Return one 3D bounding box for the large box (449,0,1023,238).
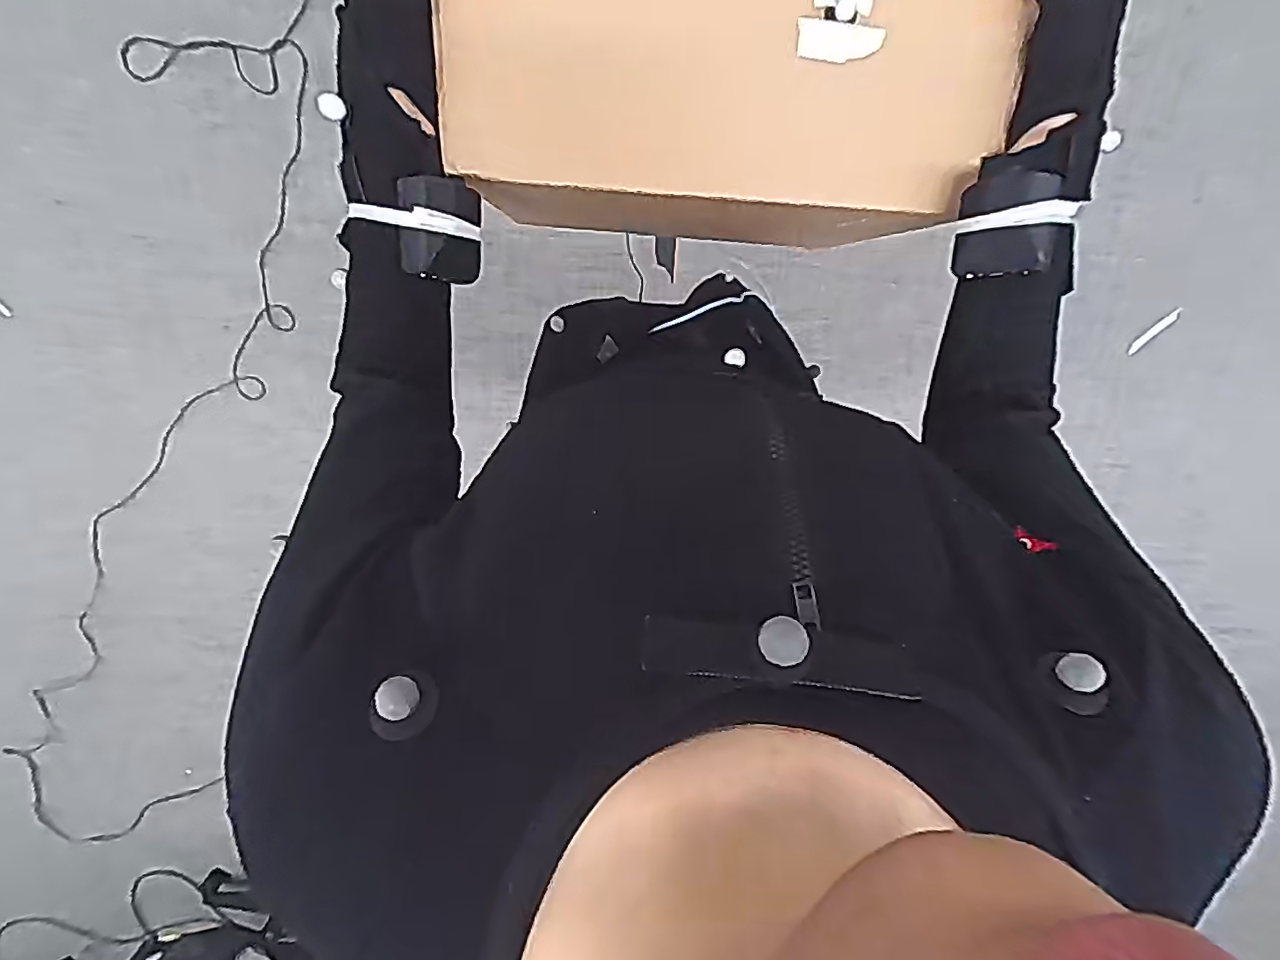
[{"bbox_3d":[0.060,-0.409,0.496,0.408,0.320,0.320,2,111,-5],"label":"large box"}]
